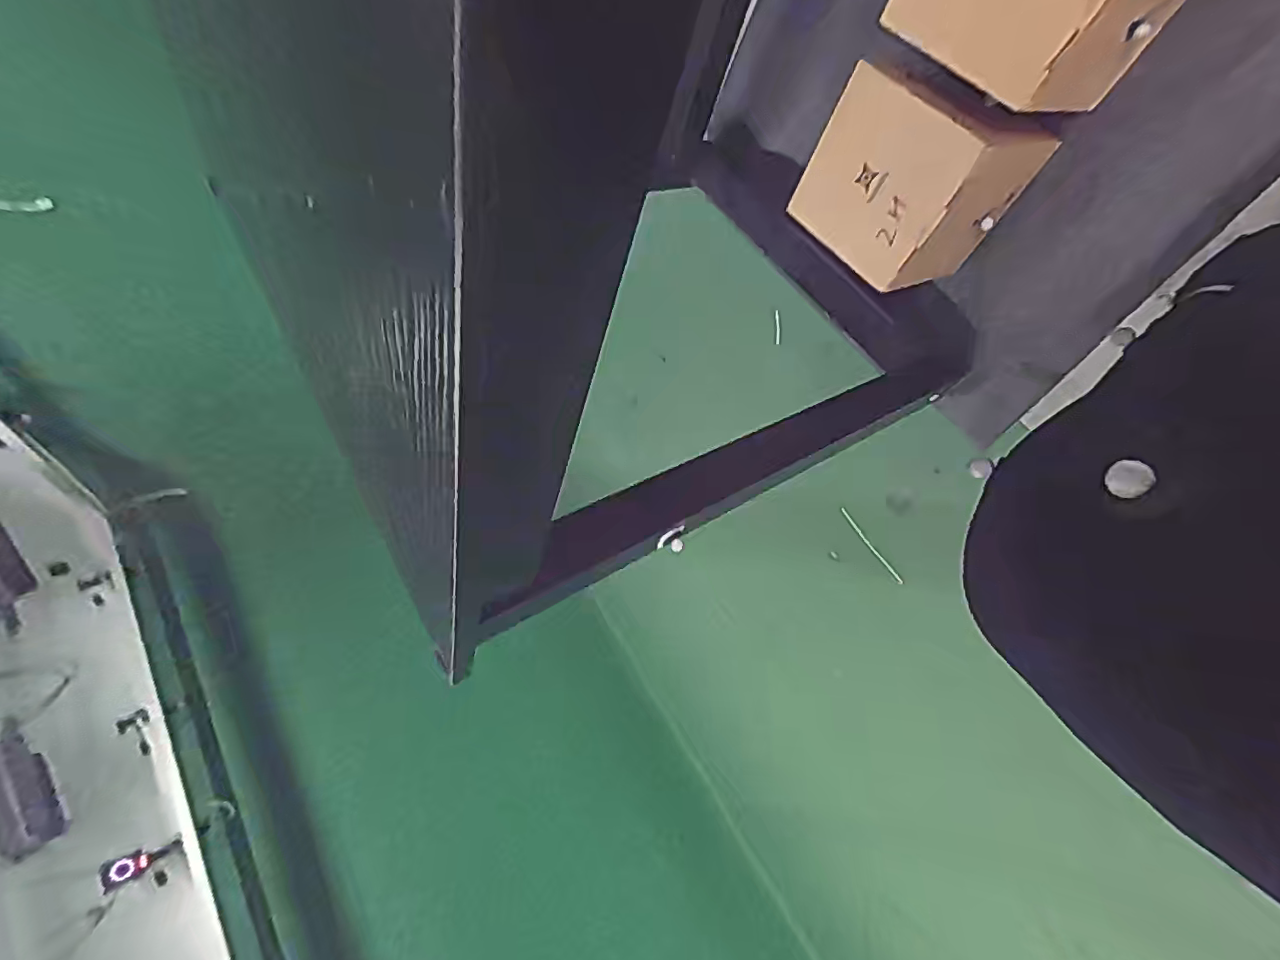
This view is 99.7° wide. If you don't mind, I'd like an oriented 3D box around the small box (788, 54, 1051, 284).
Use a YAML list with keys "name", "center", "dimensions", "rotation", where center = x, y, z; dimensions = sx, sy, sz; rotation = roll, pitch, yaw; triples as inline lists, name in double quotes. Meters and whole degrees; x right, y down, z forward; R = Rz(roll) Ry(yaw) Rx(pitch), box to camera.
- name: "small box"
  center: [0.318, -0.360, 0.634]
  dimensions: [0.179, 0.176, 0.168]
  rotation: [54, 148, 21]
